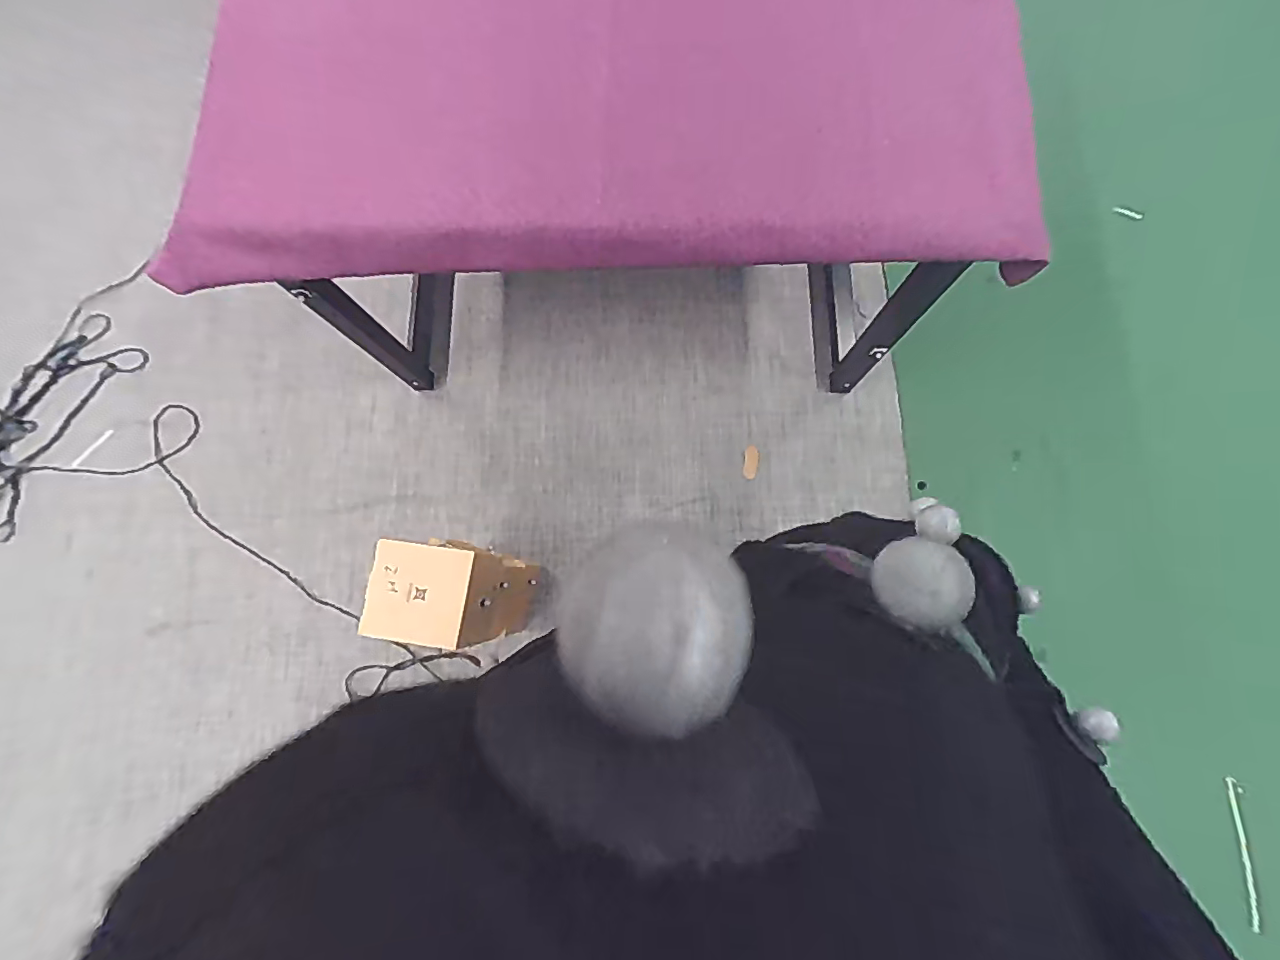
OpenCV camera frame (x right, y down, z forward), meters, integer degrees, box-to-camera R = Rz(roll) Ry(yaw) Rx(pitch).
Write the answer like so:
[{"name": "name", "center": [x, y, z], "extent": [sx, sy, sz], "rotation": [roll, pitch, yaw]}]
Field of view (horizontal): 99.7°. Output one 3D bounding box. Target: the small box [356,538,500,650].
[{"name": "small box", "center": [-0.373, 0.205, 0.986], "extent": [0.179, 0.176, 0.168], "rotation": [8, 78, 5]}]

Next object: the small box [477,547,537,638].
[{"name": "small box", "center": [-0.361, 0.265, 1.307], "extent": [0.168, 0.176, 0.179], "rotation": [15, 81, 5]}]

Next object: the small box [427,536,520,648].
[{"name": "small box", "center": [-0.375, 0.236, 1.149], "extent": [0.168, 0.176, 0.179], "rotation": [21, 80, 7]}]
